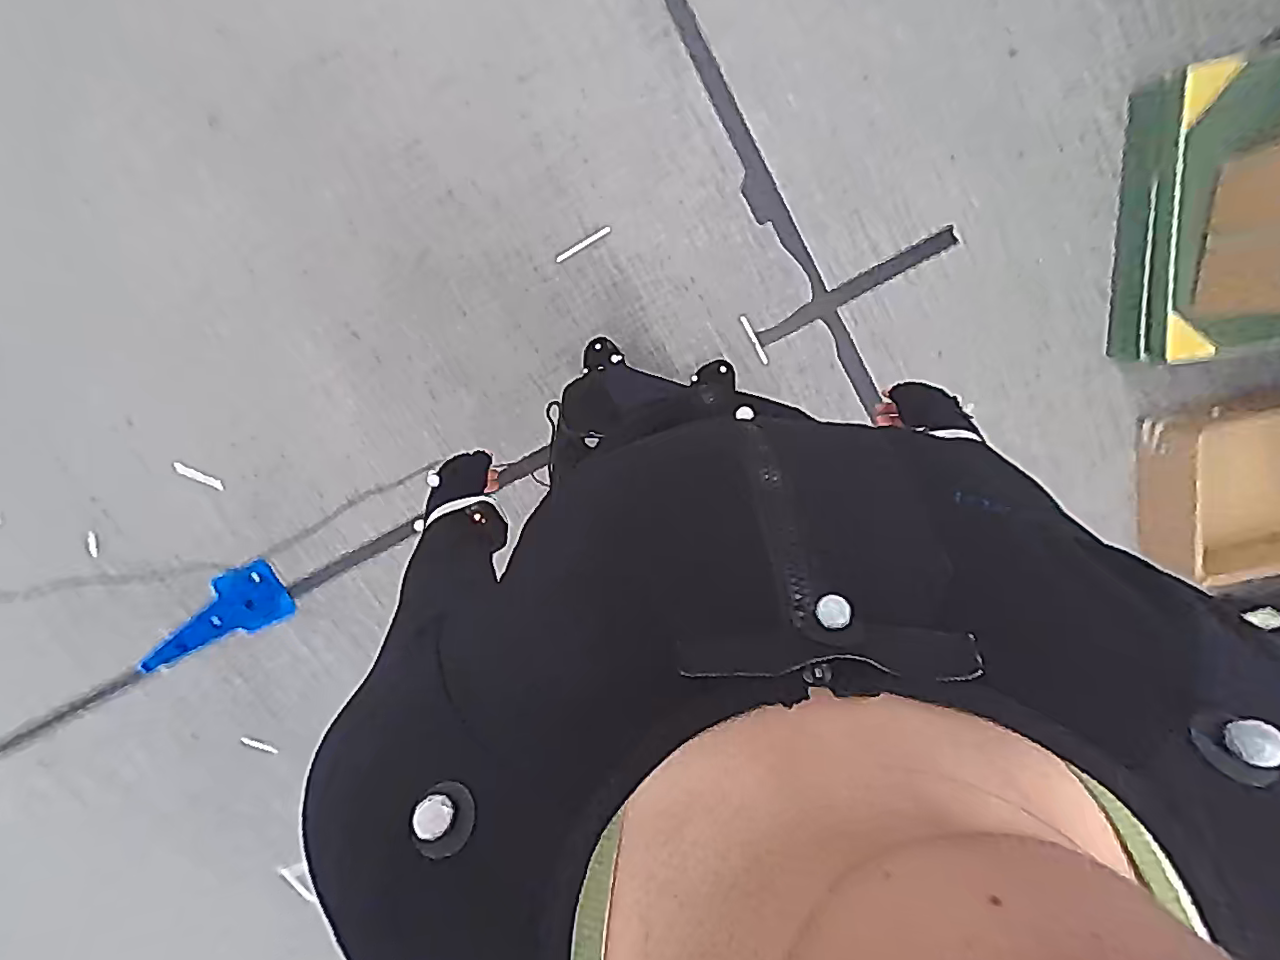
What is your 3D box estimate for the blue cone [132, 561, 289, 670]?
[{"bbox_3d":[-1.167,0.388,1.441,0.192,0.380,0.193,-24,102,9],"label":"blue cone"}]
